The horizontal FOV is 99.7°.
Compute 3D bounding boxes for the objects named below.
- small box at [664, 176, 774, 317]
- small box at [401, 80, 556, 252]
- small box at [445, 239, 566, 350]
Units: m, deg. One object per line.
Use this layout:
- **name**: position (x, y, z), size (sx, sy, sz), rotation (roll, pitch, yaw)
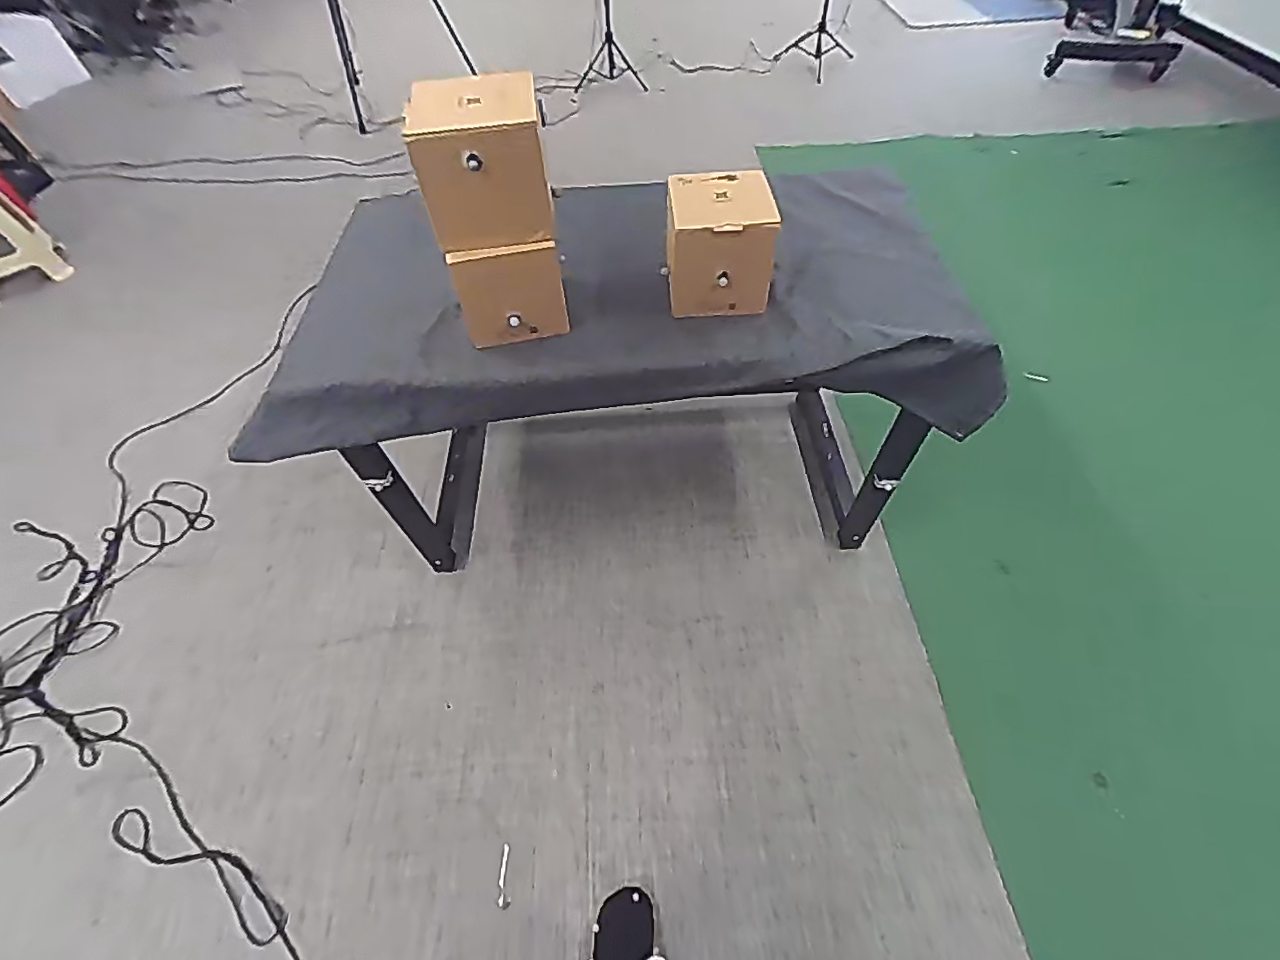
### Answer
- **small box**: position (0.129, -0.402, 0.949), size (0.168, 0.176, 0.179), rotation (-3, 55, 0)
- **small box**: position (-0.228, -0.458, 0.801), size (0.179, 0.176, 0.168), rotation (-8, 56, -5)
- **small box**: position (-0.226, -0.351, 0.924), size (0.168, 0.176, 0.179), rotation (-12, 55, -6)
